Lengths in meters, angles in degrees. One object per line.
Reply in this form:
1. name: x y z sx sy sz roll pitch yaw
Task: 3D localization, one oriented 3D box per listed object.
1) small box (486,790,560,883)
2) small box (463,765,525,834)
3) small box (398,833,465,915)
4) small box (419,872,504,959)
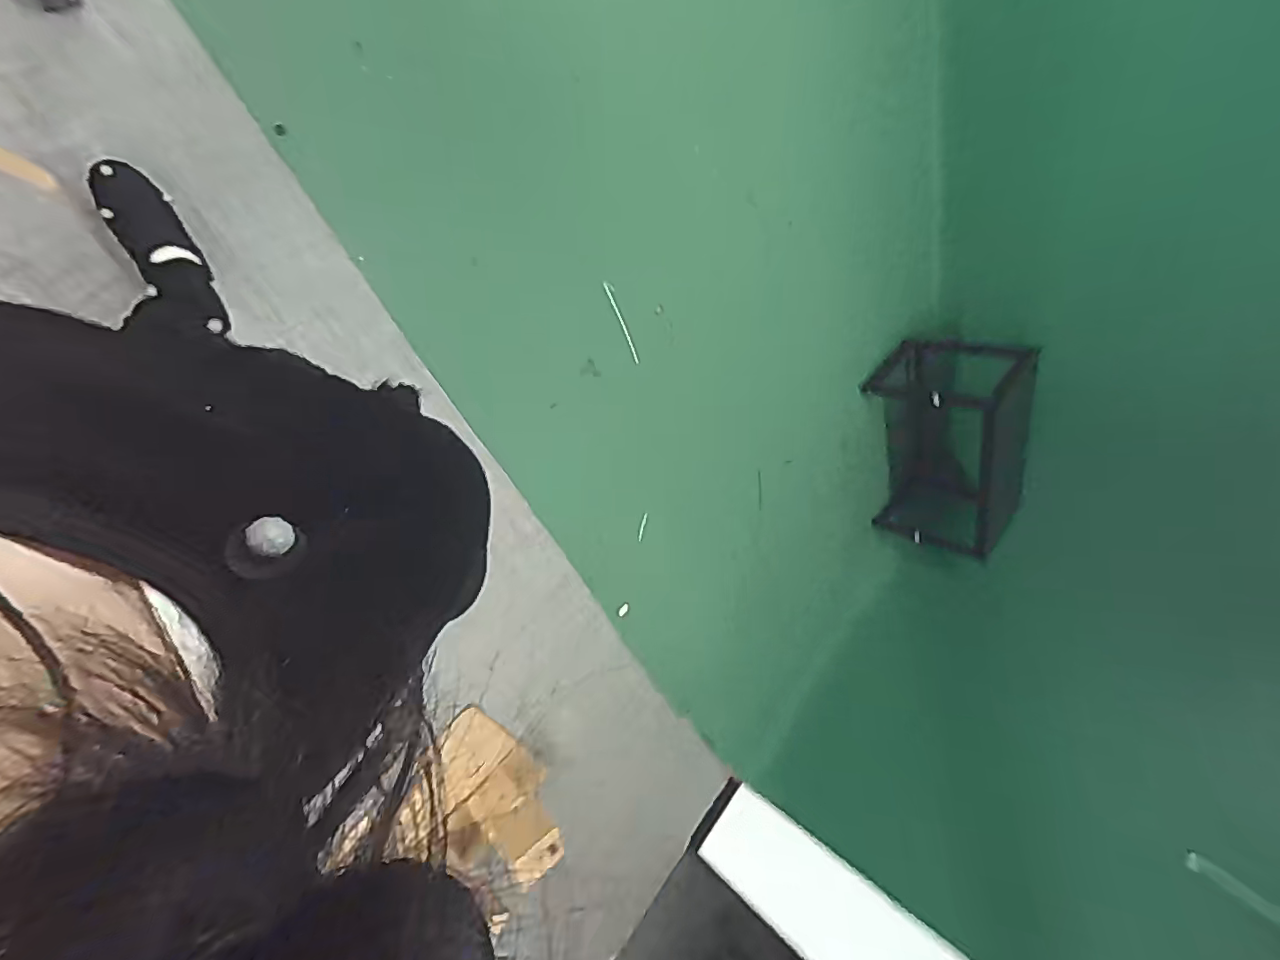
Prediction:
1. small box: -0.410 1.234 1.886 0.179 0.176 0.168 -28 124 -34
2. small box: -0.520 1.193 2.001 0.168 0.176 0.179 -44 132 -23
3. small box: -0.713 1.385 1.880 0.168 0.176 0.179 -29 124 -35
4. small box: -0.592 1.428 1.777 0.168 0.176 0.179 42 74 -45
